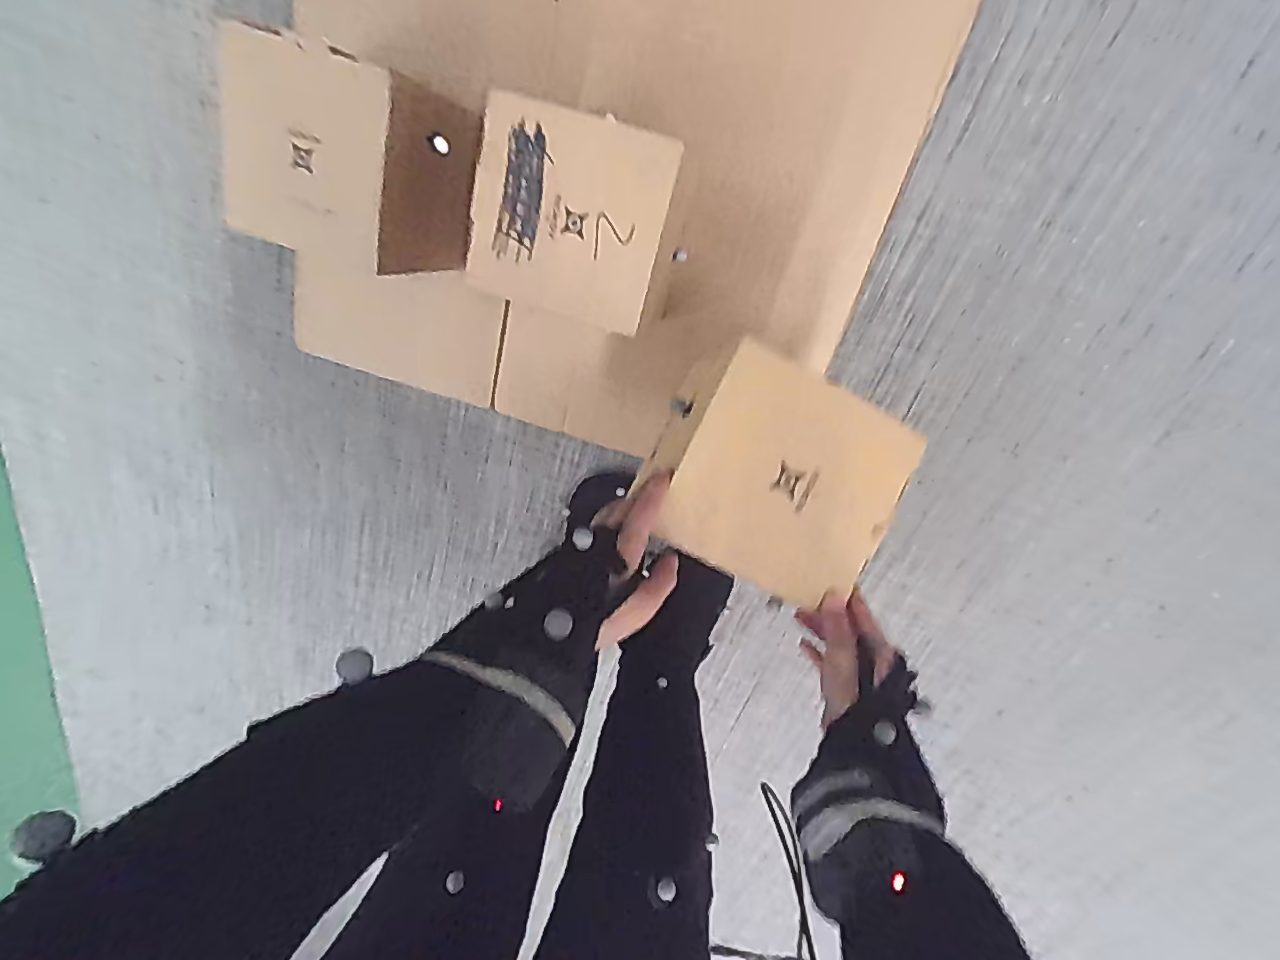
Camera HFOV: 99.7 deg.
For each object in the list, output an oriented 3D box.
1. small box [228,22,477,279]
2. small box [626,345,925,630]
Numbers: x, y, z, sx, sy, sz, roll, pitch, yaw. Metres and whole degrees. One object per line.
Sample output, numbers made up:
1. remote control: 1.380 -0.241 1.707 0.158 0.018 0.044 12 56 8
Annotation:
1. small box: -0.291 -0.330 0.575 0.168 0.176 0.179 19 115 3
2. small box: 0.102 0.005 0.492 0.179 0.176 0.168 28 89 -10
